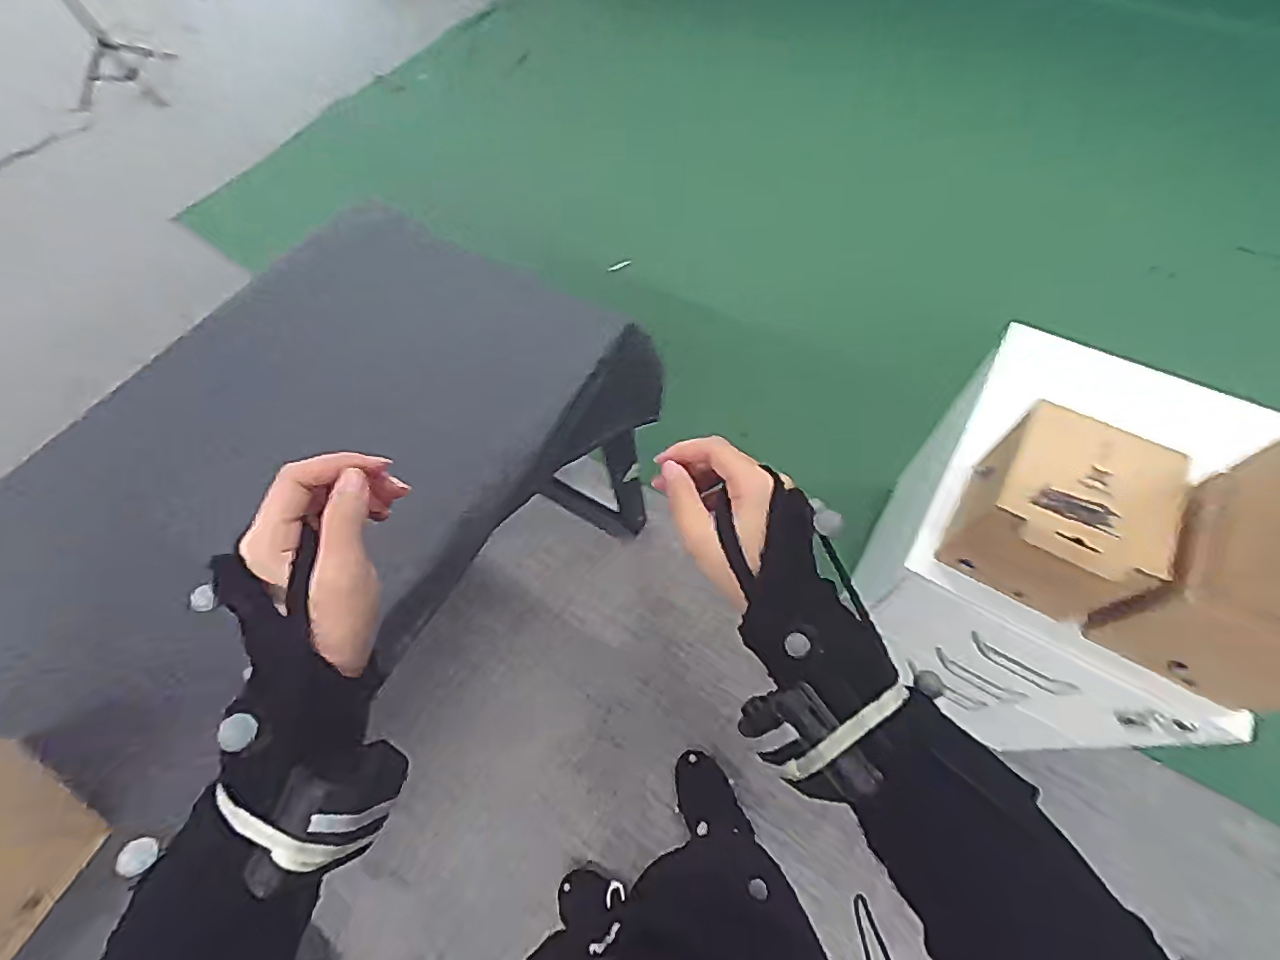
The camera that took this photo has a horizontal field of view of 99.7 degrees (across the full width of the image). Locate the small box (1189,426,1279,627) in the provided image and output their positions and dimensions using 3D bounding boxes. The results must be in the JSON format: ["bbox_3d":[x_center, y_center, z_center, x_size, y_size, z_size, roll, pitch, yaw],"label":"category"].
[{"bbox_3d":[0.644,0.045,0.470,0.168,0.176,0.179,29,68,18],"label":"small box"}]

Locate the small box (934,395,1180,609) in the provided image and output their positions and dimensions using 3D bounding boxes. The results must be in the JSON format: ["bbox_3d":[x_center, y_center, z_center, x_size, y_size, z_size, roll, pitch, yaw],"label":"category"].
[{"bbox_3d":[0.498,0.035,0.672,0.168,0.176,0.179,29,67,17],"label":"small box"}]

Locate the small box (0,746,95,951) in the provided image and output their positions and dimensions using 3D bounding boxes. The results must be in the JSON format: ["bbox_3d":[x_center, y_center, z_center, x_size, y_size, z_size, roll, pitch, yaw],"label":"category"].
[{"bbox_3d":[-0.637,0.335,0.450,0.179,0.176,0.168,23,67,16],"label":"small box"}]
